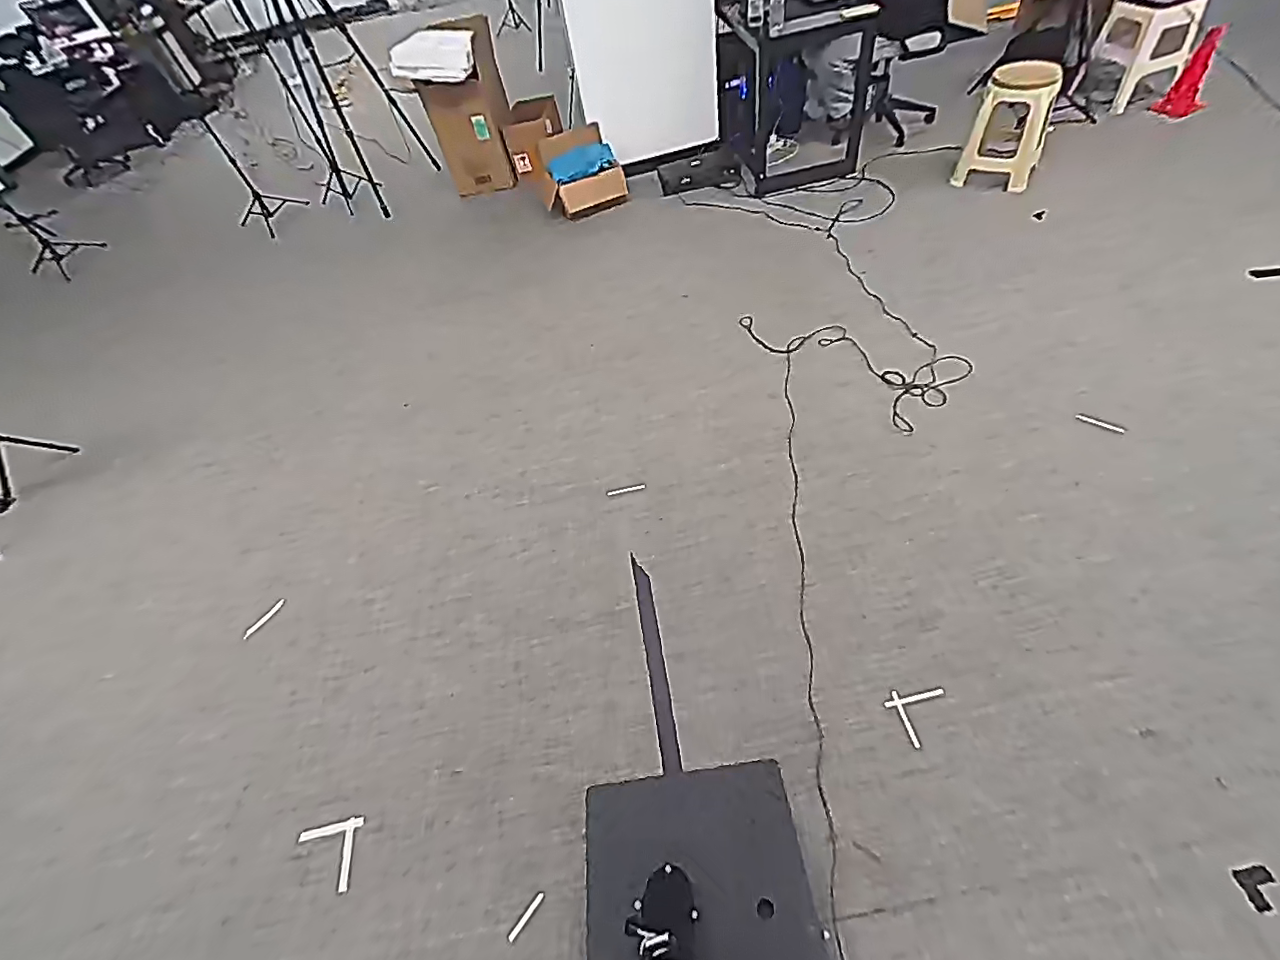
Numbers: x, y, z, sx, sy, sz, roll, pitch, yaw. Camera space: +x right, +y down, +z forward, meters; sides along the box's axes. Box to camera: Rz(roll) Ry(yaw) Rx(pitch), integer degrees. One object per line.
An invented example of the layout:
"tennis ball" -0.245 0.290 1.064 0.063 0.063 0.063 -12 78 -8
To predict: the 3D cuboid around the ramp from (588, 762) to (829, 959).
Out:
"ramp" 0.143 1.072 0.987 0.509 0.206 0.991 -13 50 3
